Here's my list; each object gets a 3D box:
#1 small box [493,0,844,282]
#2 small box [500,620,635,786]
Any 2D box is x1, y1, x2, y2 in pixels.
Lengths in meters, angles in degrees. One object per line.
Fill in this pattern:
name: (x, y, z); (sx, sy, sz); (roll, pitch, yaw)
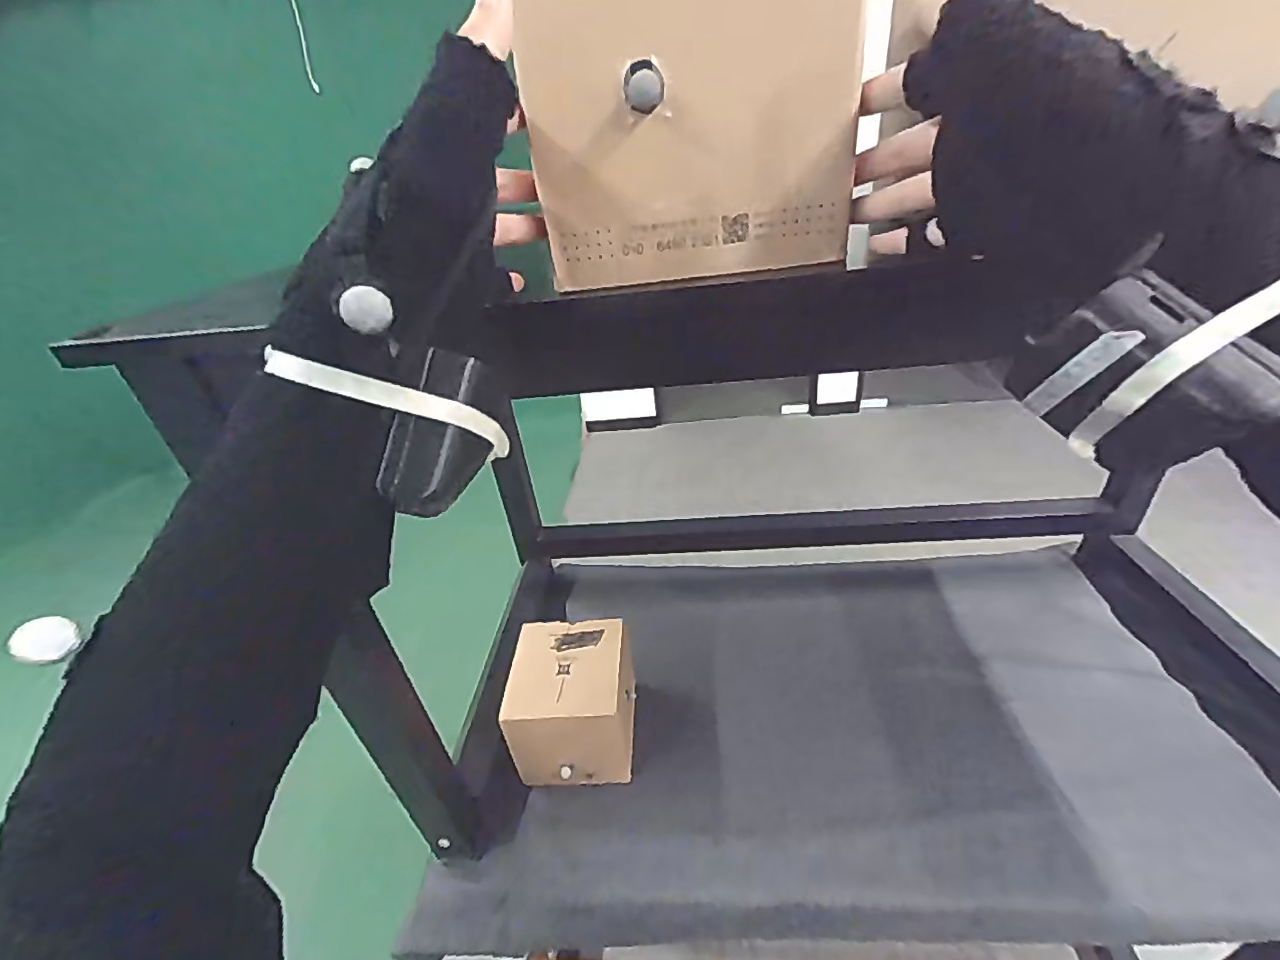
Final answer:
small box: (0.022, -0.228, 0.337); (0.168, 0.176, 0.179); (-5, 31, 4)
small box: (-0.100, 0.342, 0.837); (0.168, 0.176, 0.179); (-5, 32, 5)
